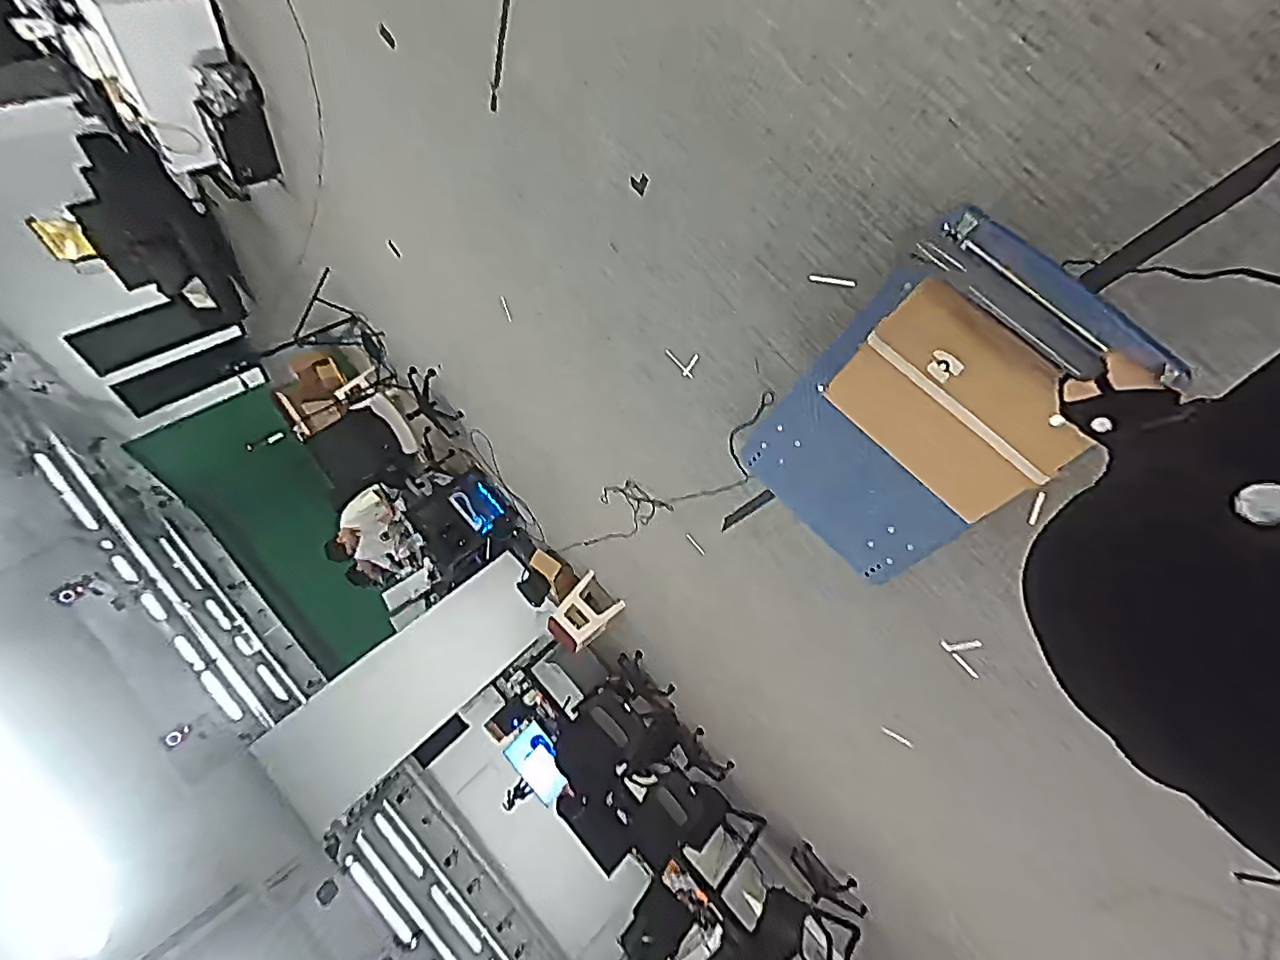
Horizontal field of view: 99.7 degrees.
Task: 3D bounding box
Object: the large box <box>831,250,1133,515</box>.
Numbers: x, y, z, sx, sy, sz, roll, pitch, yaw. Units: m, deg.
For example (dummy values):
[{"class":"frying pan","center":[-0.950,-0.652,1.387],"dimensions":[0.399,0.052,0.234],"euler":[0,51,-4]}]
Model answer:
[{"class":"large box","center":[0.696,-0.211,1.119],"dimensions":[0.408,0.320,0.320],"euler":[45,134,12]}]
